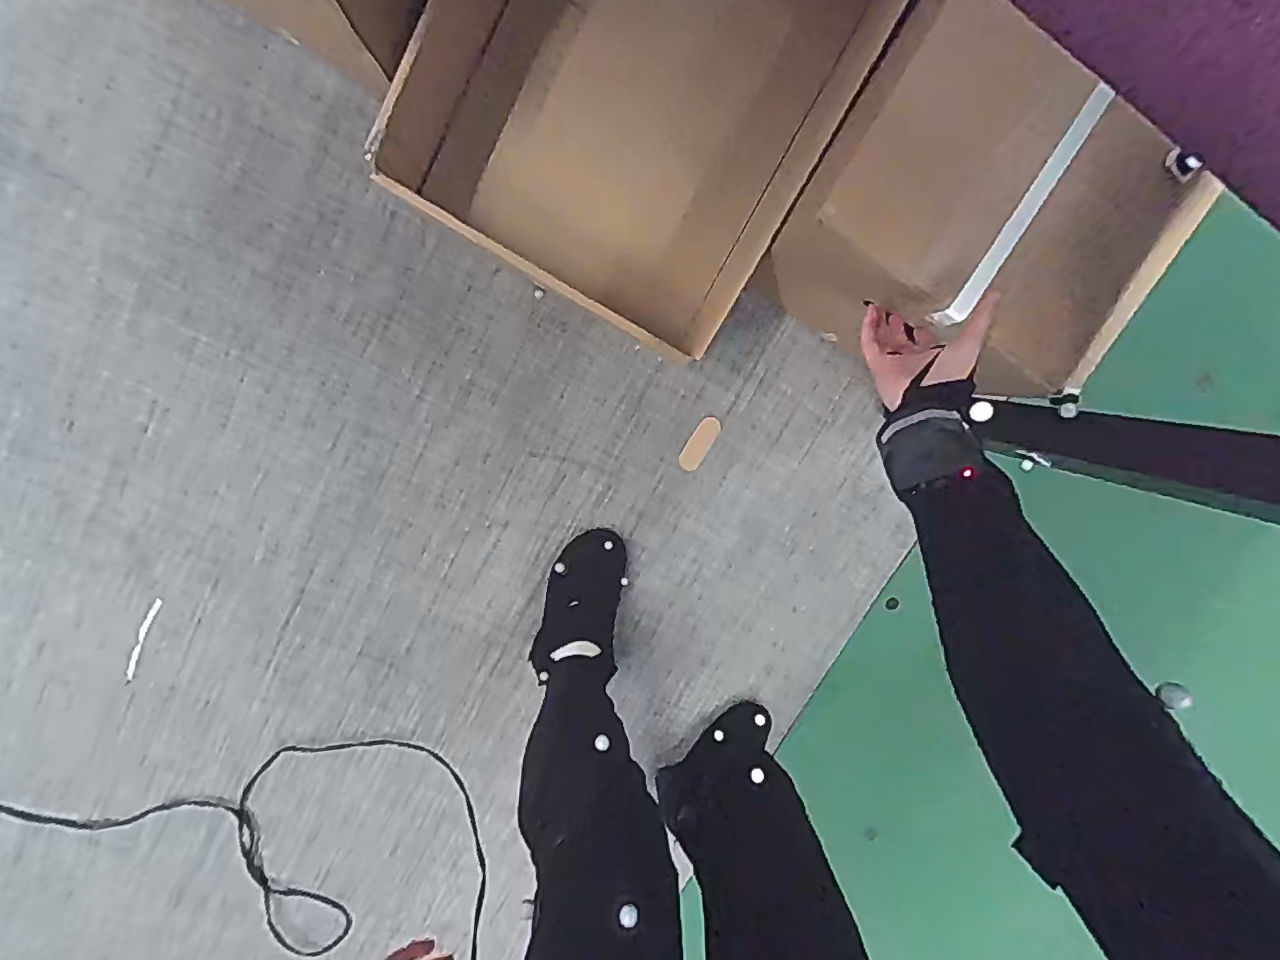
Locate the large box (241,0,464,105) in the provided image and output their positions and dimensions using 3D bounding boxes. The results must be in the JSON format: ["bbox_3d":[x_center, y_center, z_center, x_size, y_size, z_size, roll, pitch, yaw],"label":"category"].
[{"bbox_3d":[-0.294,-0.658,0.464,0.320,0.320,0.408,27,101,-13],"label":"large box"}]
